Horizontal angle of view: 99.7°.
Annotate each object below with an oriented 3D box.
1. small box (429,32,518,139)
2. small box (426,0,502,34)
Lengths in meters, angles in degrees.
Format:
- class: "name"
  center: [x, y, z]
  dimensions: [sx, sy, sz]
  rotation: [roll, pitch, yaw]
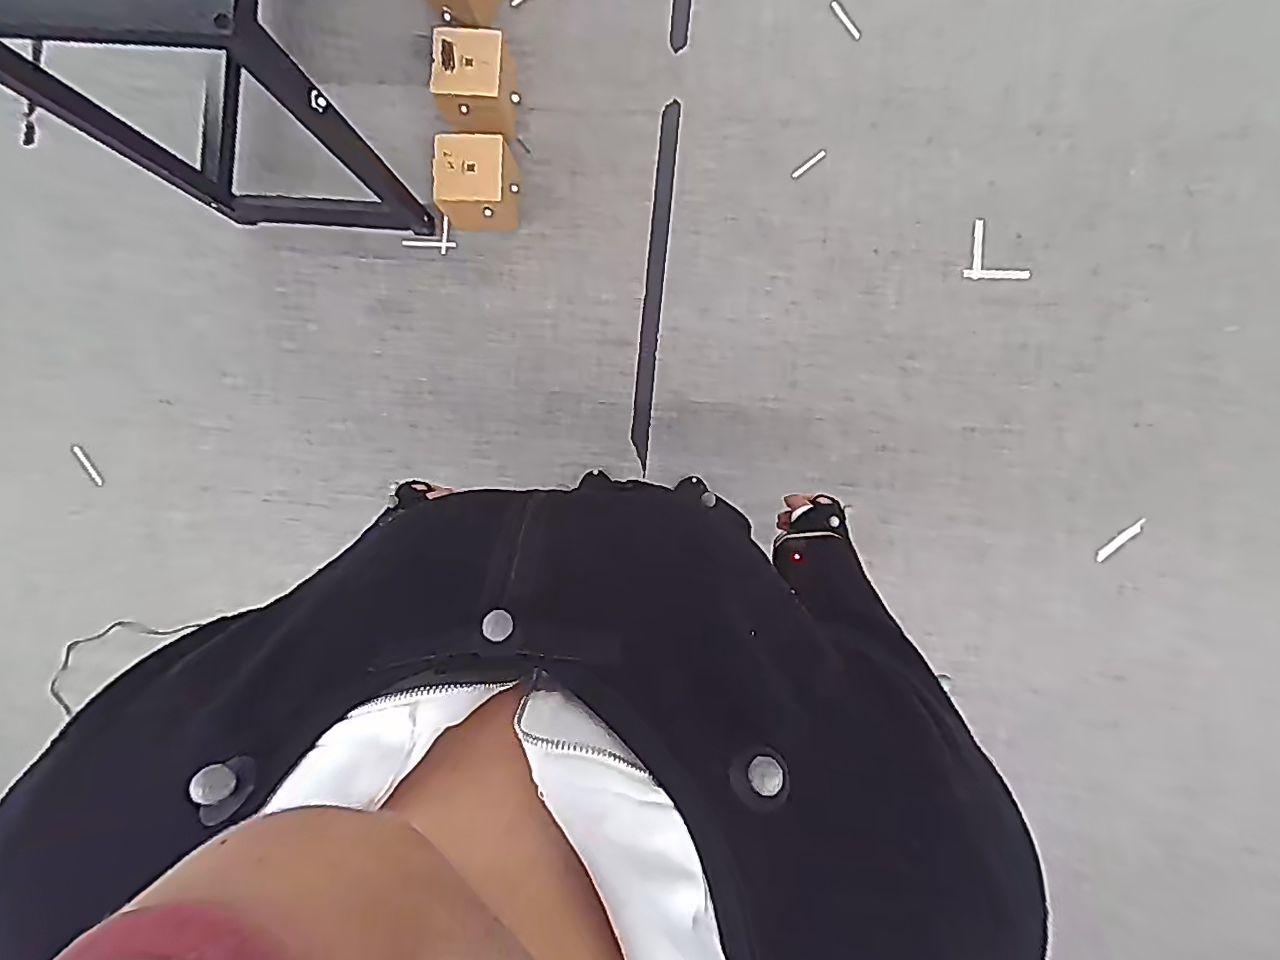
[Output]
- class: "small box"
  center: [-0.435, -1.035, 1.430]
  dimensions: [0.179, 0.176, 0.168]
  rotation: [4, 91, 1]
- class: "small box"
  center: [-0.476, -1.334, 1.429]
  dimensions: [0.168, 0.176, 0.179]
  rotation: [26, 93, 3]
